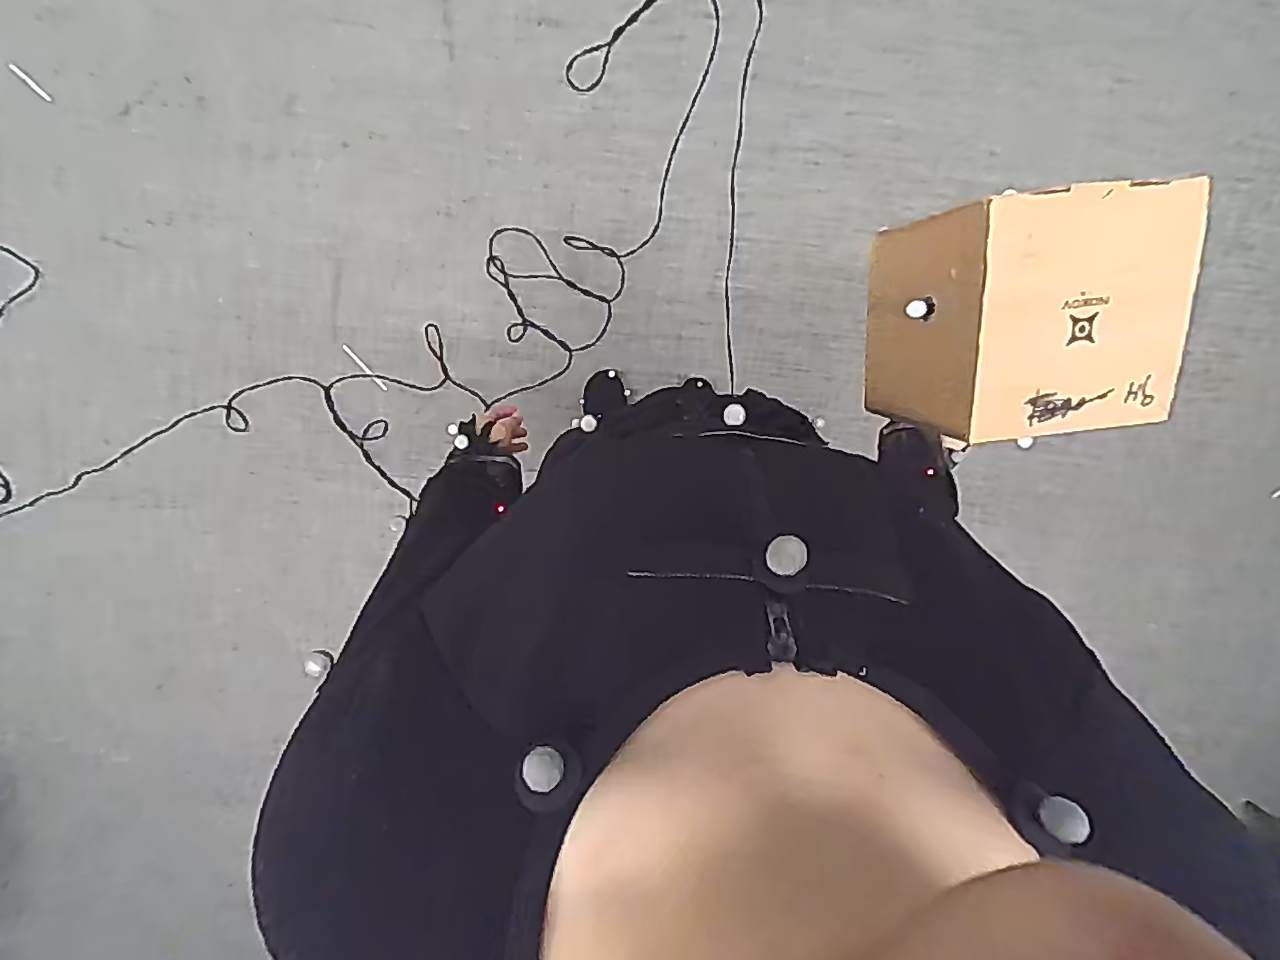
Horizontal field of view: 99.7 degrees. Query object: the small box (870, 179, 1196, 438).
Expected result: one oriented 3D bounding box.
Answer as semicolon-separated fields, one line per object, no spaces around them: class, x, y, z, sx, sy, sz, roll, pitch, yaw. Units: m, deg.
small box;0.322;-0.143;0.482;0.168;0.176;0.179;-7;105;-2
